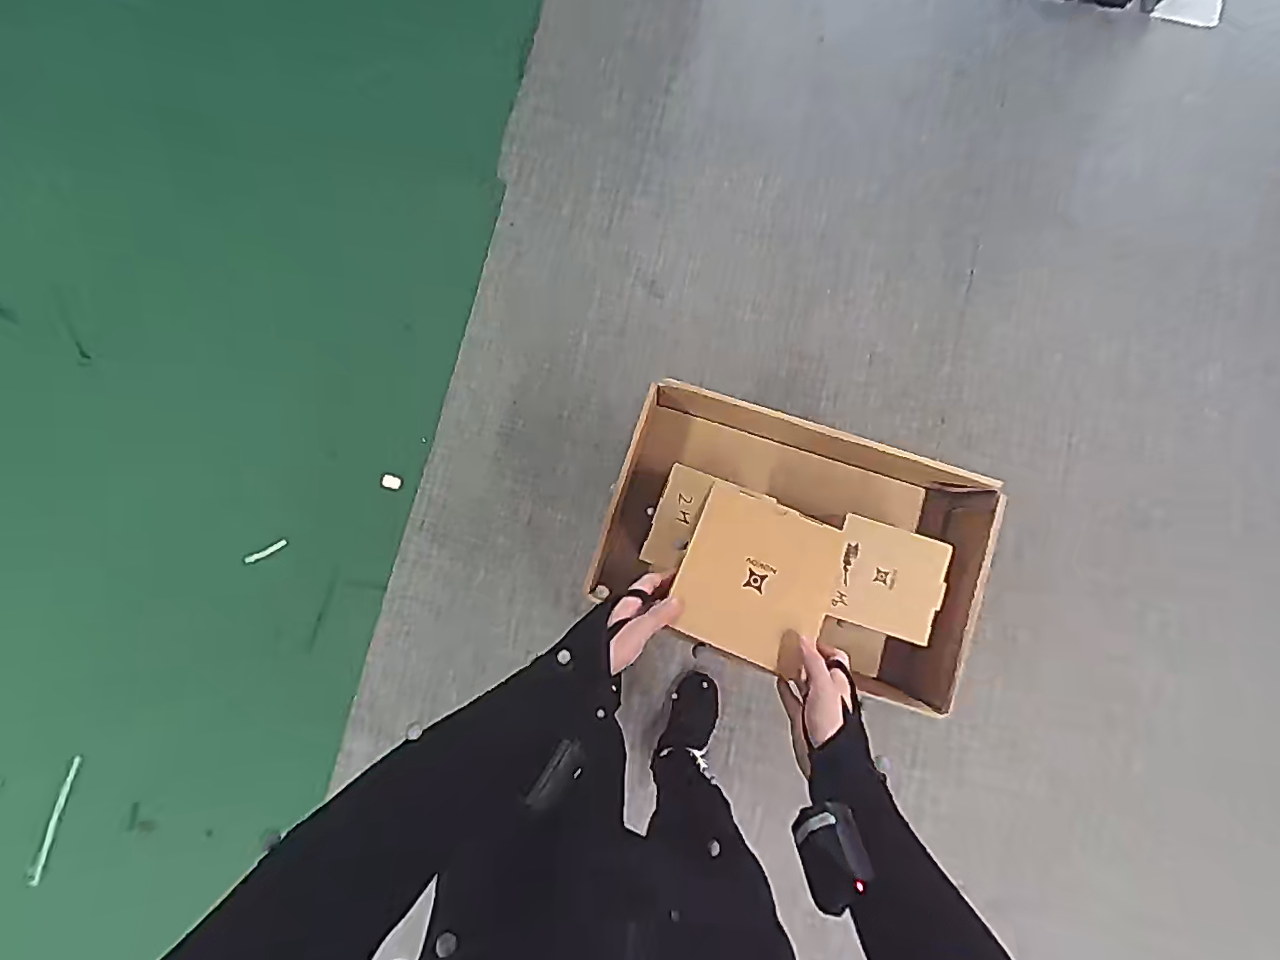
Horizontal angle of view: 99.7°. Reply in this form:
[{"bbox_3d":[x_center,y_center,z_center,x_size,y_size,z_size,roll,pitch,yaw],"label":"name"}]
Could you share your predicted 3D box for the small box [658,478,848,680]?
[{"bbox_3d":[0.126,0.127,0.669,0.168,0.176,0.179,22,73,5],"label":"small box"}]
